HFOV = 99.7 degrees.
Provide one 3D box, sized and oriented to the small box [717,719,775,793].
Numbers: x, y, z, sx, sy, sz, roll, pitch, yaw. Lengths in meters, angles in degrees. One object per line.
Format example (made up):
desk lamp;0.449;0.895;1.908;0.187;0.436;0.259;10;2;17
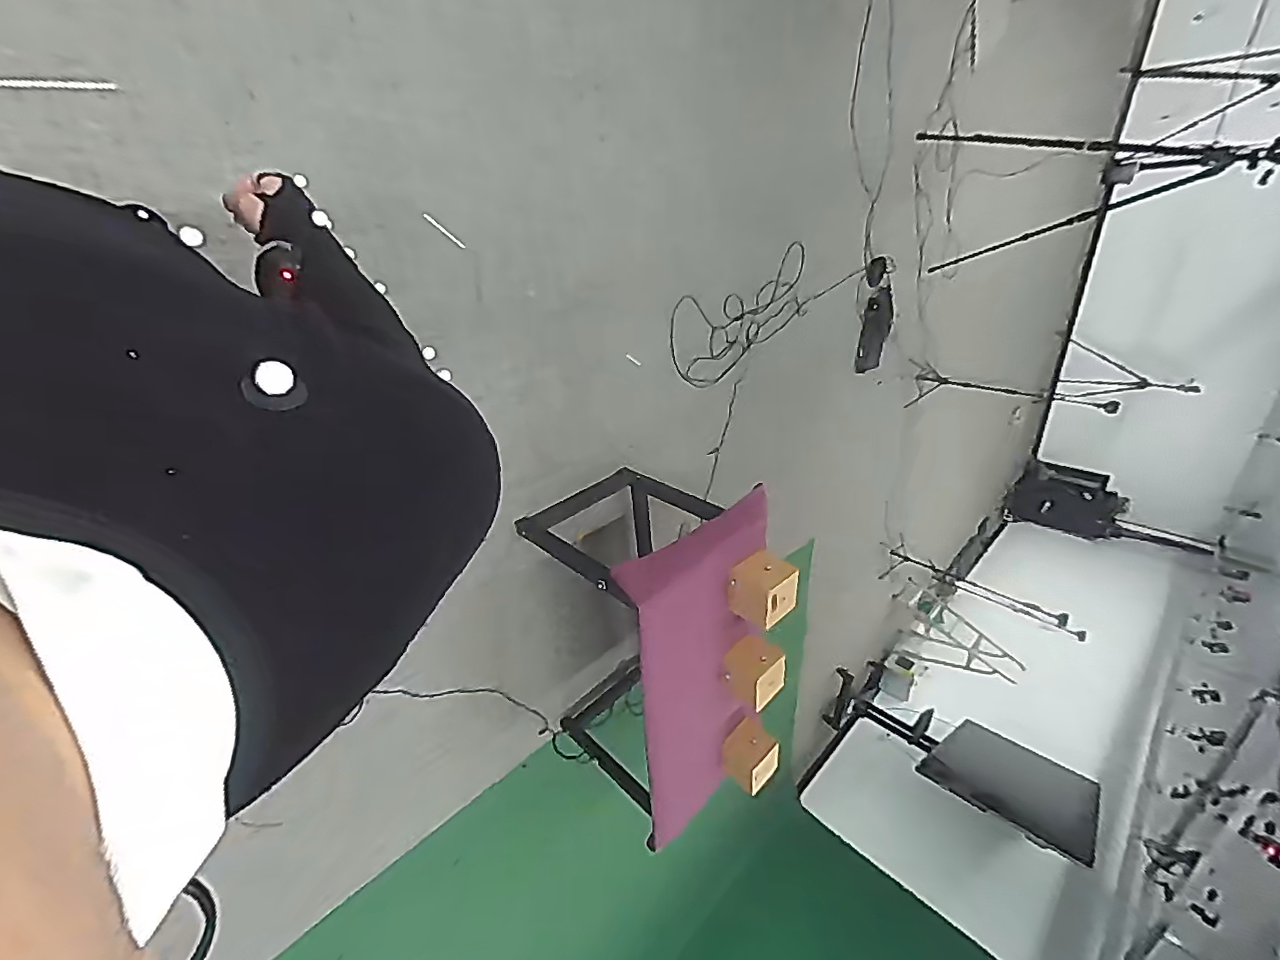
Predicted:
small box;0.436;1.126;2.224;0.179;0.176;0.168;-28;125;-36

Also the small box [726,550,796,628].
small box;0.412;0.369;1.861;0.179;0.176;0.168;-24;124;-37

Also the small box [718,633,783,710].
small box;0.410;0.704;2.013;0.179;0.176;0.168;-26;124;-36
